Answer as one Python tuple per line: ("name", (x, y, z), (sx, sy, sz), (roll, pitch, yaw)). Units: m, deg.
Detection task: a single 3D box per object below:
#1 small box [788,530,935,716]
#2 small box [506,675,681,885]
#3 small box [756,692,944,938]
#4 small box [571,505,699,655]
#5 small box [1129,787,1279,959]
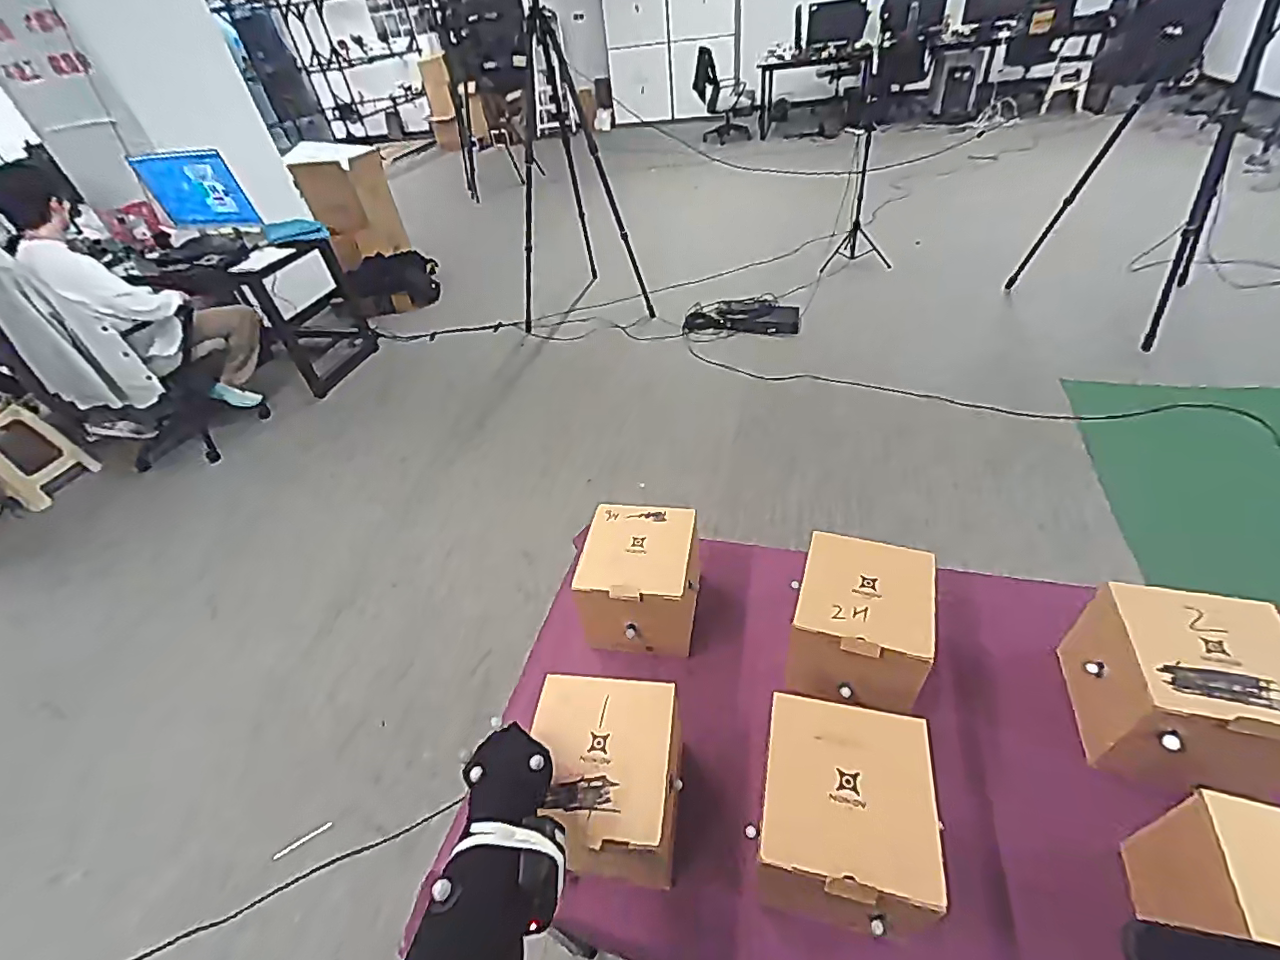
("small box", (0.312, 0.203, 0.776), (0.168, 0.176, 0.179), (10, 46, 21))
("small box", (-0.040, 0.365, 0.661), (0.168, 0.176, 0.179), (1, 41, 10))
("small box", (0.223, 0.373, 0.606), (0.168, 0.176, 0.179), (6, 43, 16))
("small box", (0.004, 0.163, 0.878), (0.168, 0.176, 0.179), (3, 44, 12))
("small box", (0.590, 0.419, 0.484), (0.168, 0.176, 0.179), (8, 45, 20))
